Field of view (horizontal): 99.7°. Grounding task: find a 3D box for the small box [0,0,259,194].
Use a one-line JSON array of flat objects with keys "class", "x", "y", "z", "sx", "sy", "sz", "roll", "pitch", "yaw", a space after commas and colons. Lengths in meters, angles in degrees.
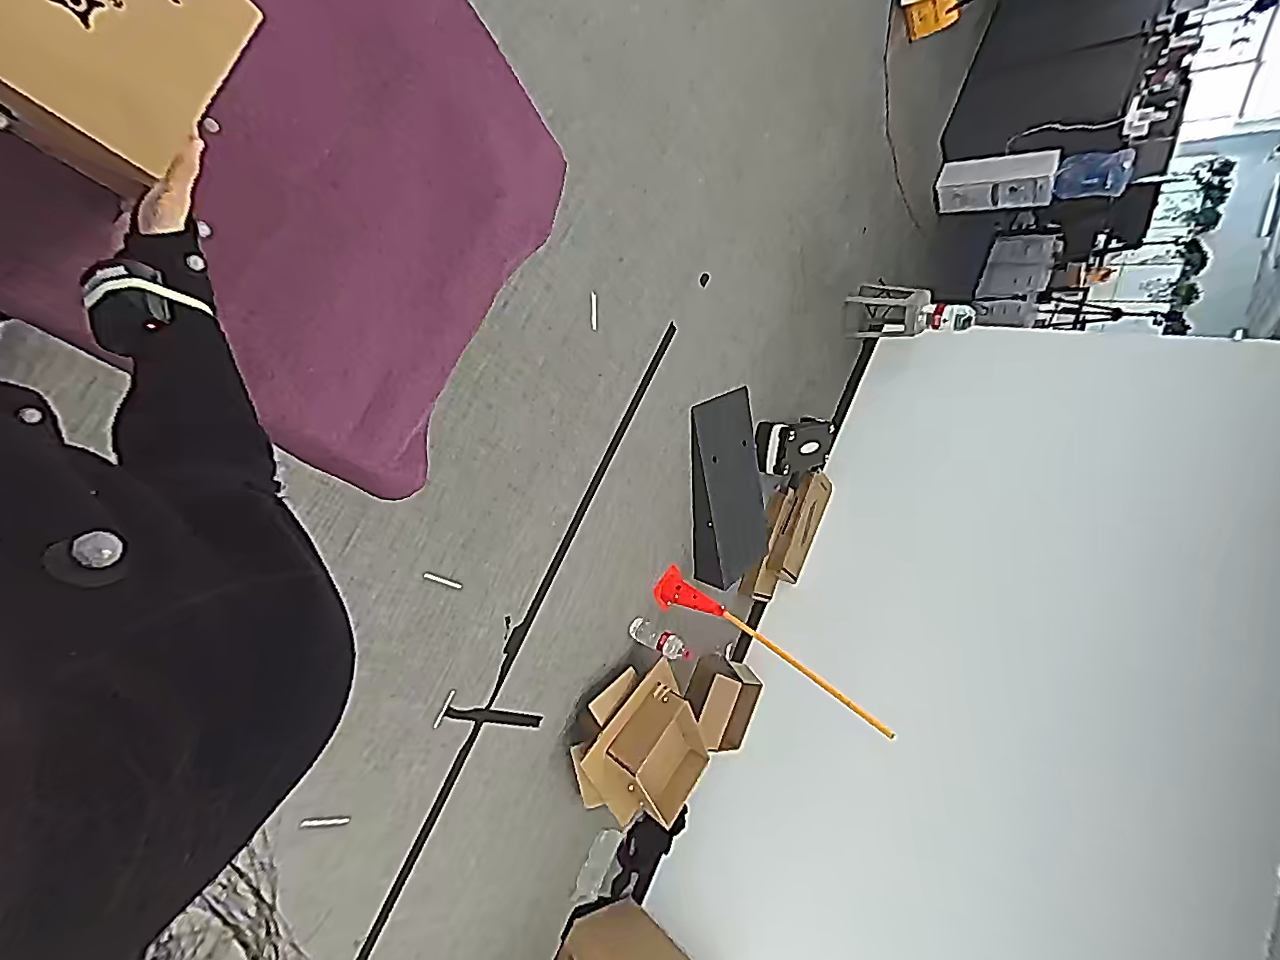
[{"class": "small box", "x": -0.464, "y": -0.367, "z": 0.445, "sx": 0.168, "sy": 0.176, "sz": 0.179, "roll": 33, "pitch": 77, "yaw": -51}]
